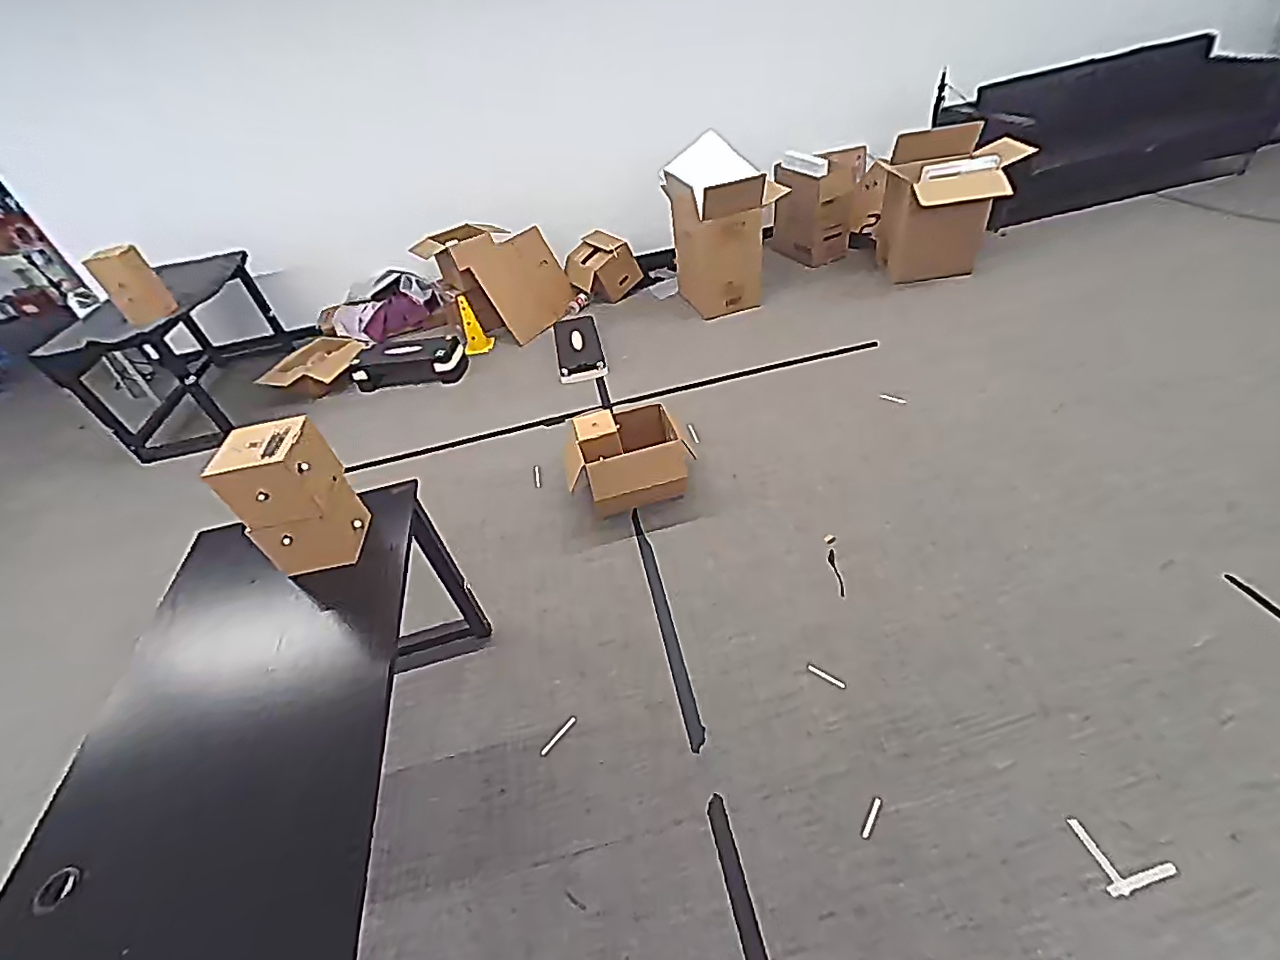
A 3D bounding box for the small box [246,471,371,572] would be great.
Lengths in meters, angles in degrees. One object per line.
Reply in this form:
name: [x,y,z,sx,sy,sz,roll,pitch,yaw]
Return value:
small box: [-0.797,0.106,1.322,0.179,0.176,0.168,-11,43,0]
